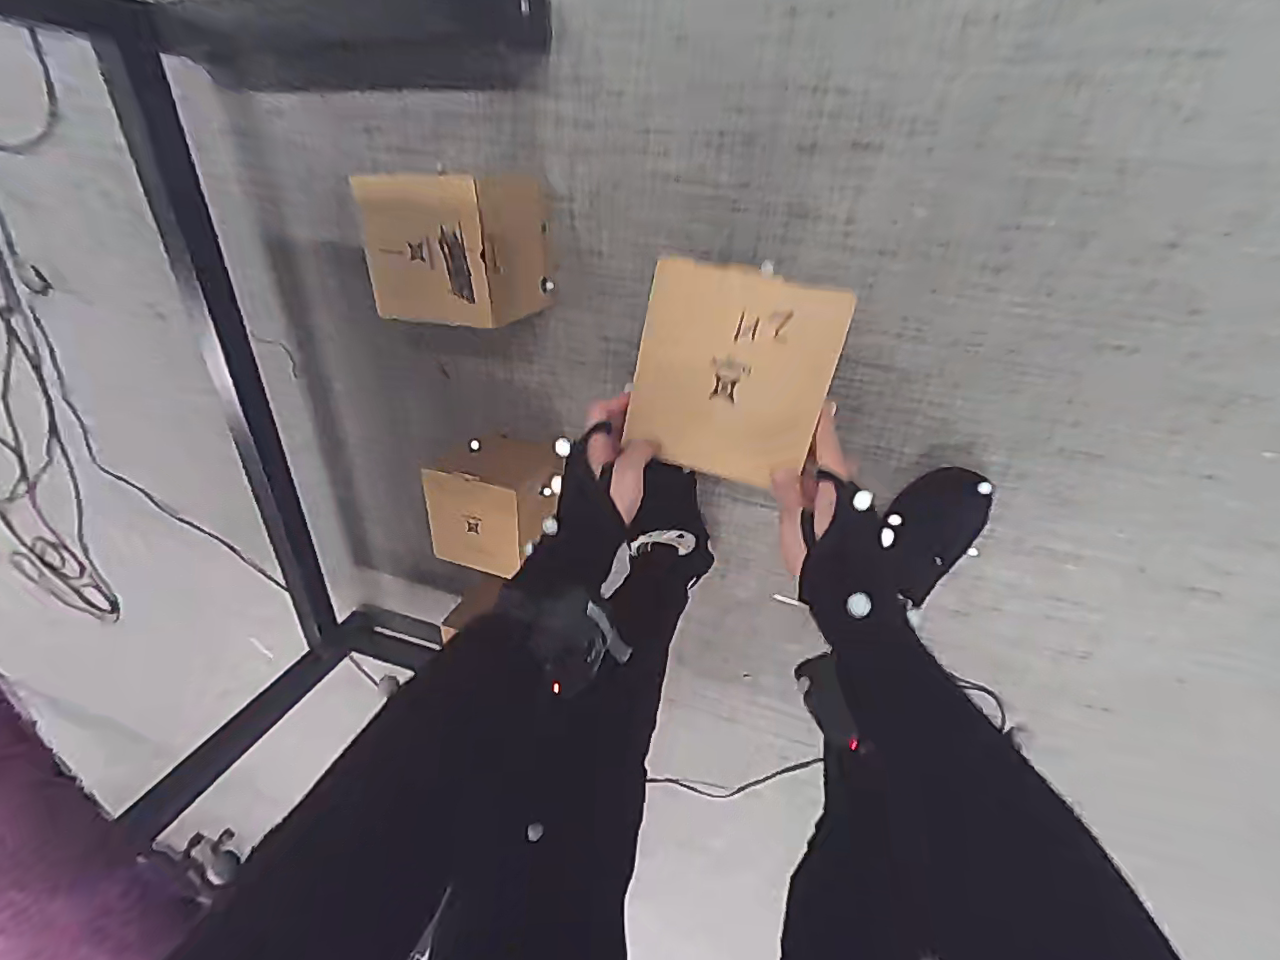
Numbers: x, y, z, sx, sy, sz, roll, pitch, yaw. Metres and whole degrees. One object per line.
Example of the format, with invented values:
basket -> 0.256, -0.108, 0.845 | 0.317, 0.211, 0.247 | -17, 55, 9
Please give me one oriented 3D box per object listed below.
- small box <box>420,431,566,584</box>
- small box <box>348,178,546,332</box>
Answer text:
small box -> -0.231, 0.036, 0.892 | 0.168, 0.176, 0.179 | 13, 121, 15
small box -> -0.234, -0.301, 0.710 | 0.179, 0.176, 0.168 | 10, 119, 17
